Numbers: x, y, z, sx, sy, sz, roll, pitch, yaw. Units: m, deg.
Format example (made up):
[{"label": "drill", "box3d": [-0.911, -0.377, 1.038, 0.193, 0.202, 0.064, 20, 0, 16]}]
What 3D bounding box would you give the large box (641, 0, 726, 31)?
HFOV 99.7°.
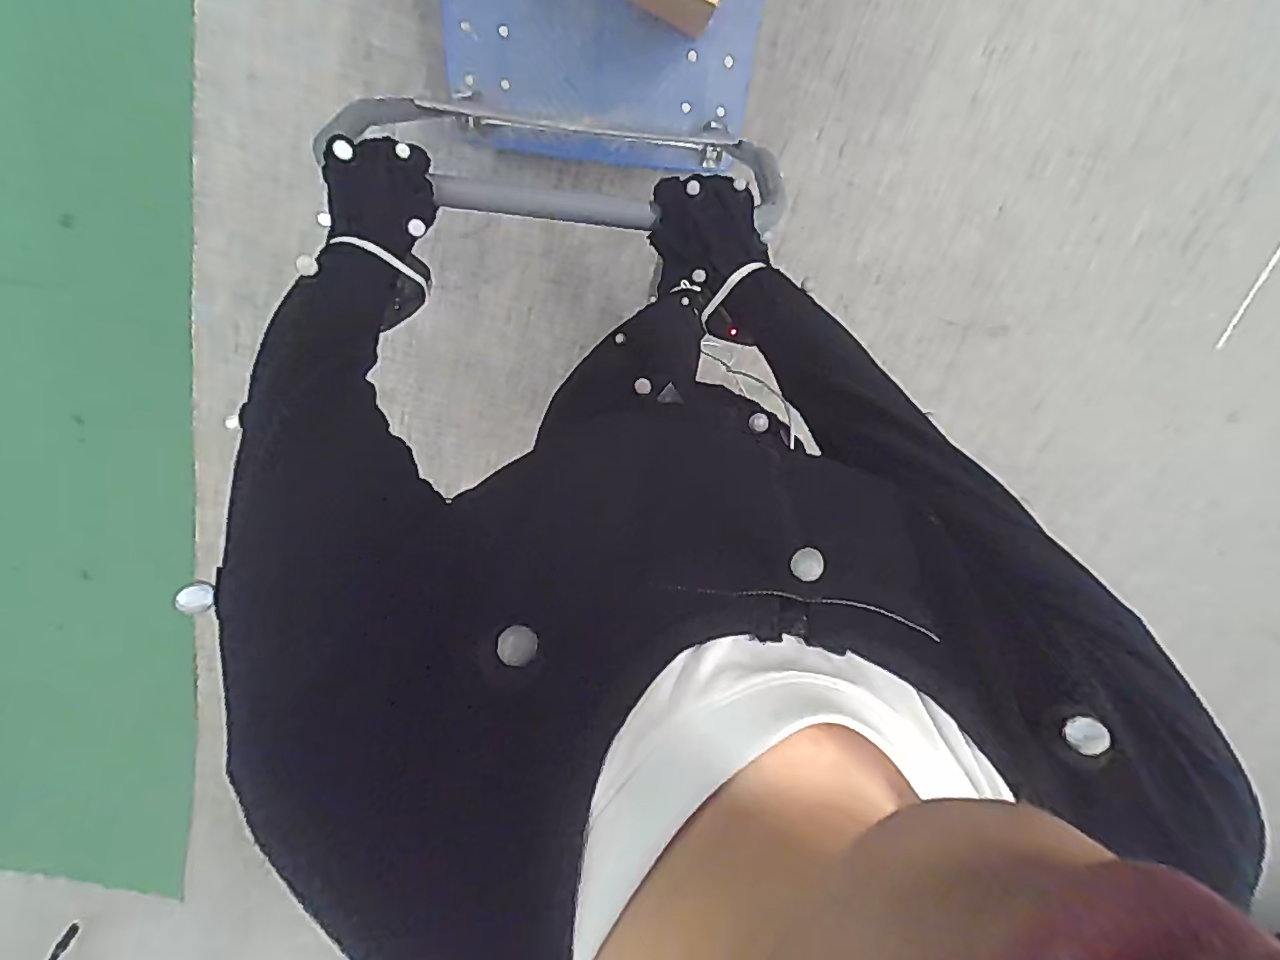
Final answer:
[{"label": "large box", "box3d": [-0.010, -0.919, 0.761, 0.408, 0.320, 0.320, 20, 121, -10]}]
